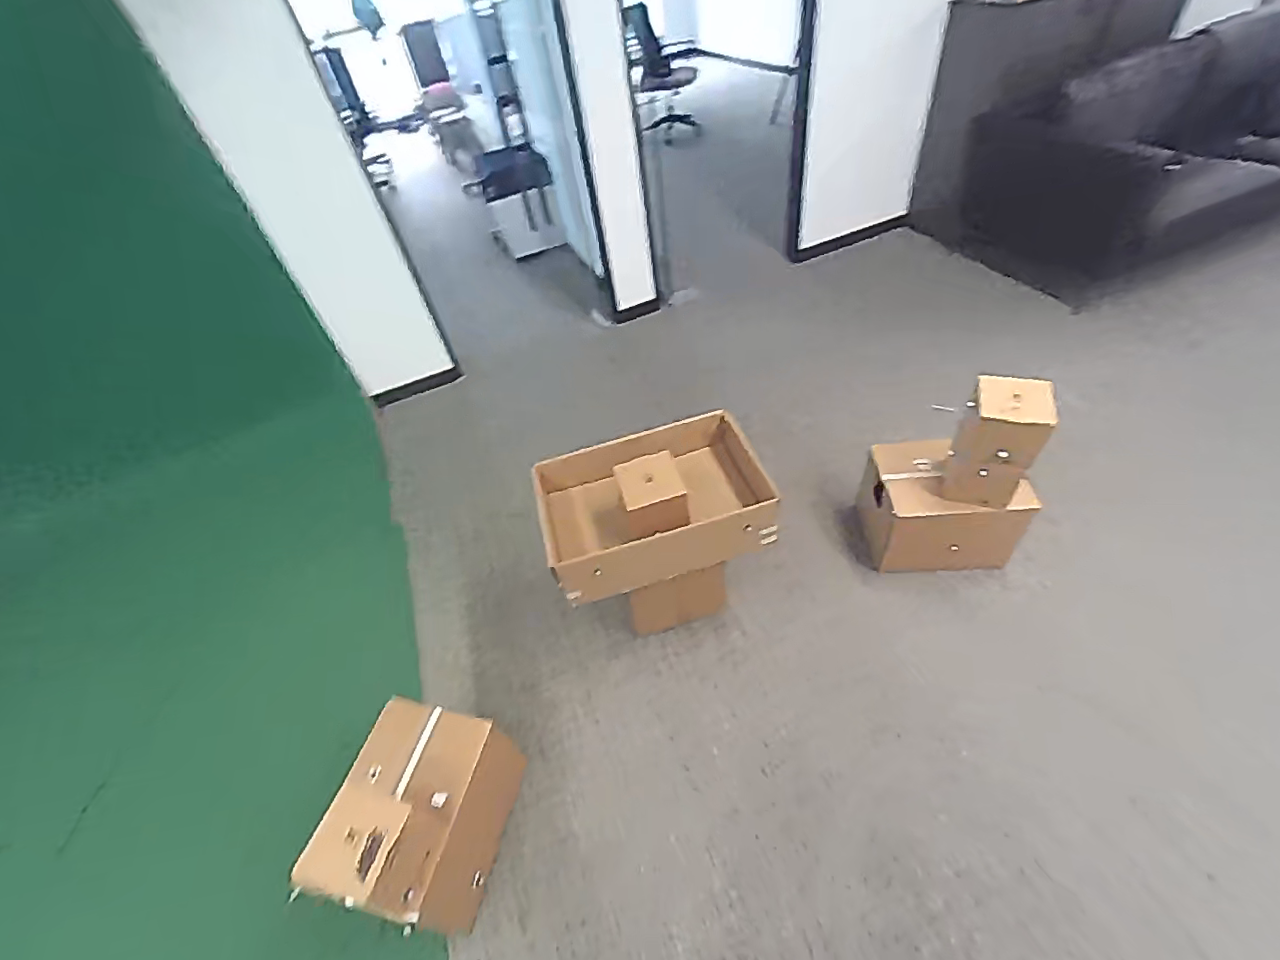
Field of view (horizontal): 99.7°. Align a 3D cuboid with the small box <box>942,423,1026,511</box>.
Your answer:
[{"bbox_3d":[0.993,-0.037,1.575,0.168,0.176,0.179,11,50,20],"label":"small box"}]

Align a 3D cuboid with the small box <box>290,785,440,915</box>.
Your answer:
[{"bbox_3d":[-0.540,0.750,1.093,0.179,0.176,0.168,7,47,17],"label":"small box"}]

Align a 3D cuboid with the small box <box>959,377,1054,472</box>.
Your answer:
[{"bbox_3d":[0.974,-0.150,1.454,0.168,0.176,0.179,10,51,19],"label":"small box"}]

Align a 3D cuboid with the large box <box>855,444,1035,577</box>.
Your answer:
[{"bbox_3d":[0.974,0.099,1.790,0.408,0.320,0.320,-5,45,7],"label":"large box"}]
